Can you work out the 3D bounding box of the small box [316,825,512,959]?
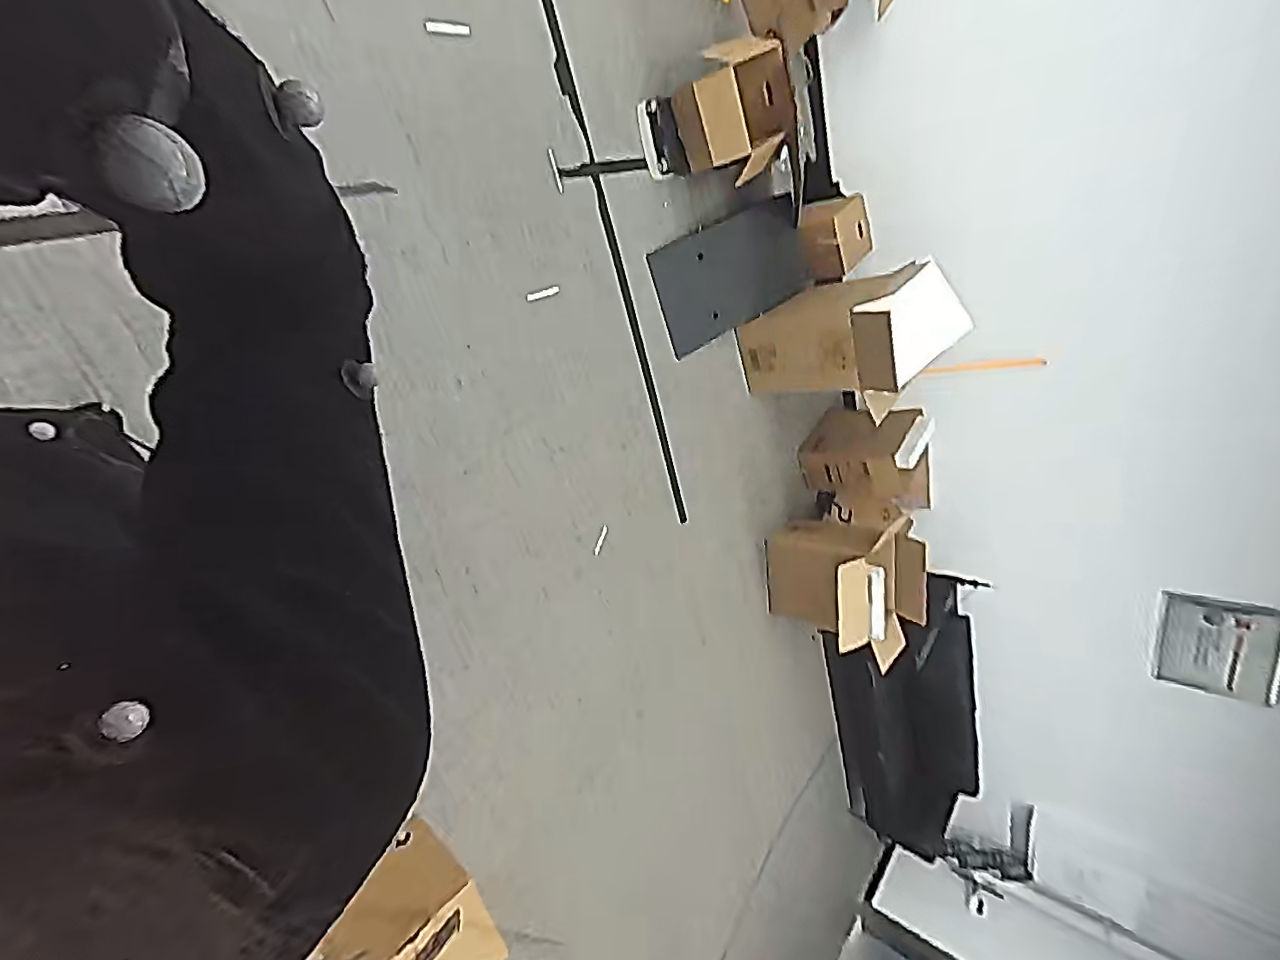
[{"bbox_3d":[-0.312,0.623,0.748,0.168,0.176,0.179,-32,119,-40],"label":"small box"}]
